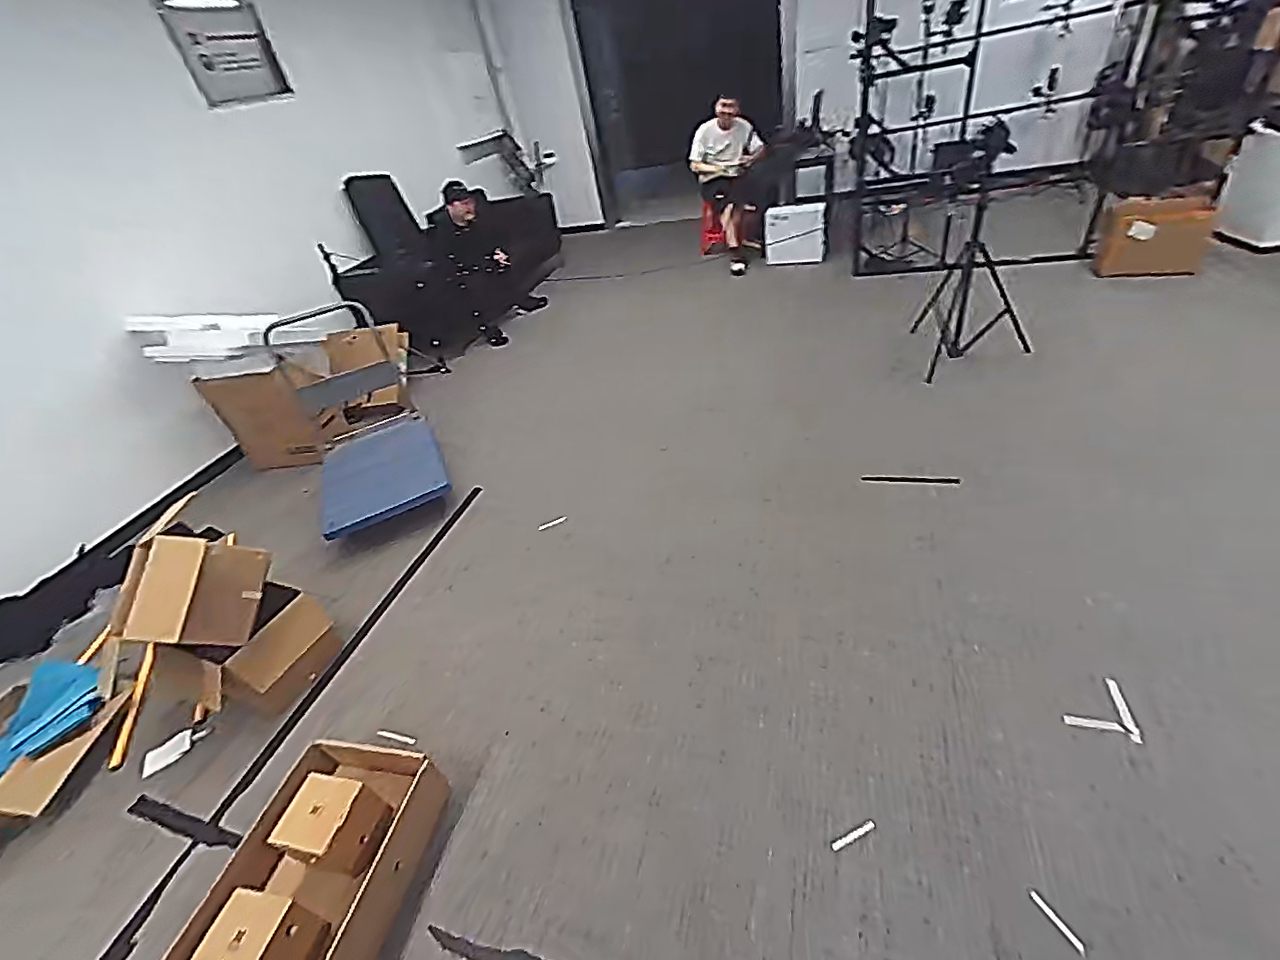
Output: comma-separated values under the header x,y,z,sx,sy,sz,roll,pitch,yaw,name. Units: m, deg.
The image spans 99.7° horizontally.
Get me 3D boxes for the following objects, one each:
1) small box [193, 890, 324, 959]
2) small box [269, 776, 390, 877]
x,y,z,sx,sy,sz,roll,pitch,yaw,name
-0.848,1.058,1.205,0.168,0.176,0.179,-3,37,15,small box
-0.795,0.898,1.403,0.179,0.176,0.168,-1,39,16,small box
